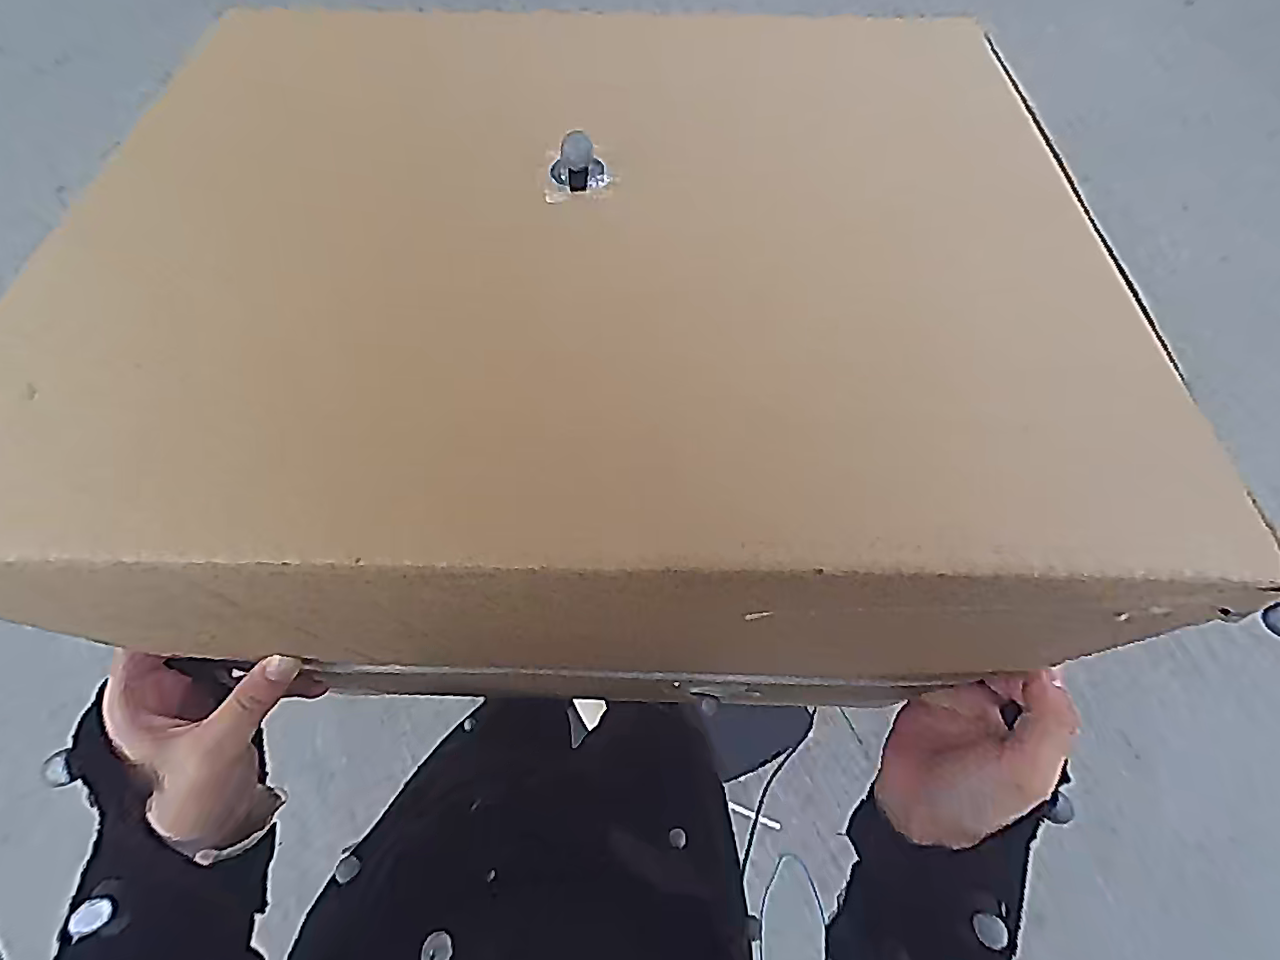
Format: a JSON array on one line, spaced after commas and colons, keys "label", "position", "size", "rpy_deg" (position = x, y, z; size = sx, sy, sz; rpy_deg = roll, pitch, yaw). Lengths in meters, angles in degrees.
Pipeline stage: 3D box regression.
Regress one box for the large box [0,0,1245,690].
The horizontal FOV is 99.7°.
[{"label": "large box", "position": [-0.034, -0.047, 0.348], "size": [0.408, 0.320, 0.320], "rpy_deg": [0, 64, 2]}]
